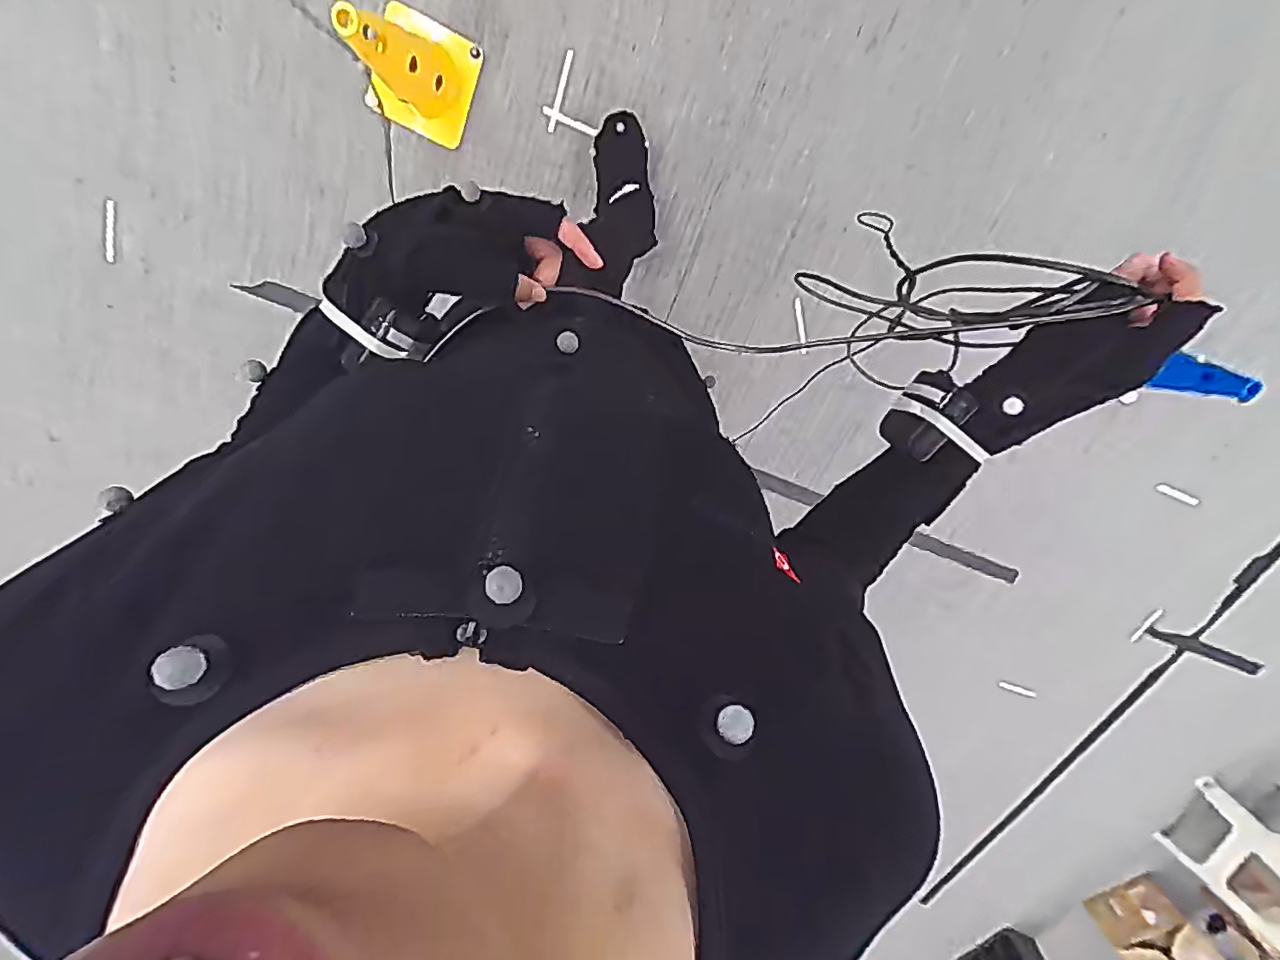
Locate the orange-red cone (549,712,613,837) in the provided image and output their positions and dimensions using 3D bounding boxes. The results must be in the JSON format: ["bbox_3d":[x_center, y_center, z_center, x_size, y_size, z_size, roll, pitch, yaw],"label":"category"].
[{"bbox_3d":[-0.205,0.984,1.778,0.199,0.360,0.198,15,114,-10],"label":"orange-red cone"}]

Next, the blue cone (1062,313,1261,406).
[{"bbox_3d":[1.215,-0.252,1.240,0.193,0.380,0.192,15,114,-8],"label":"blue cone"}]
